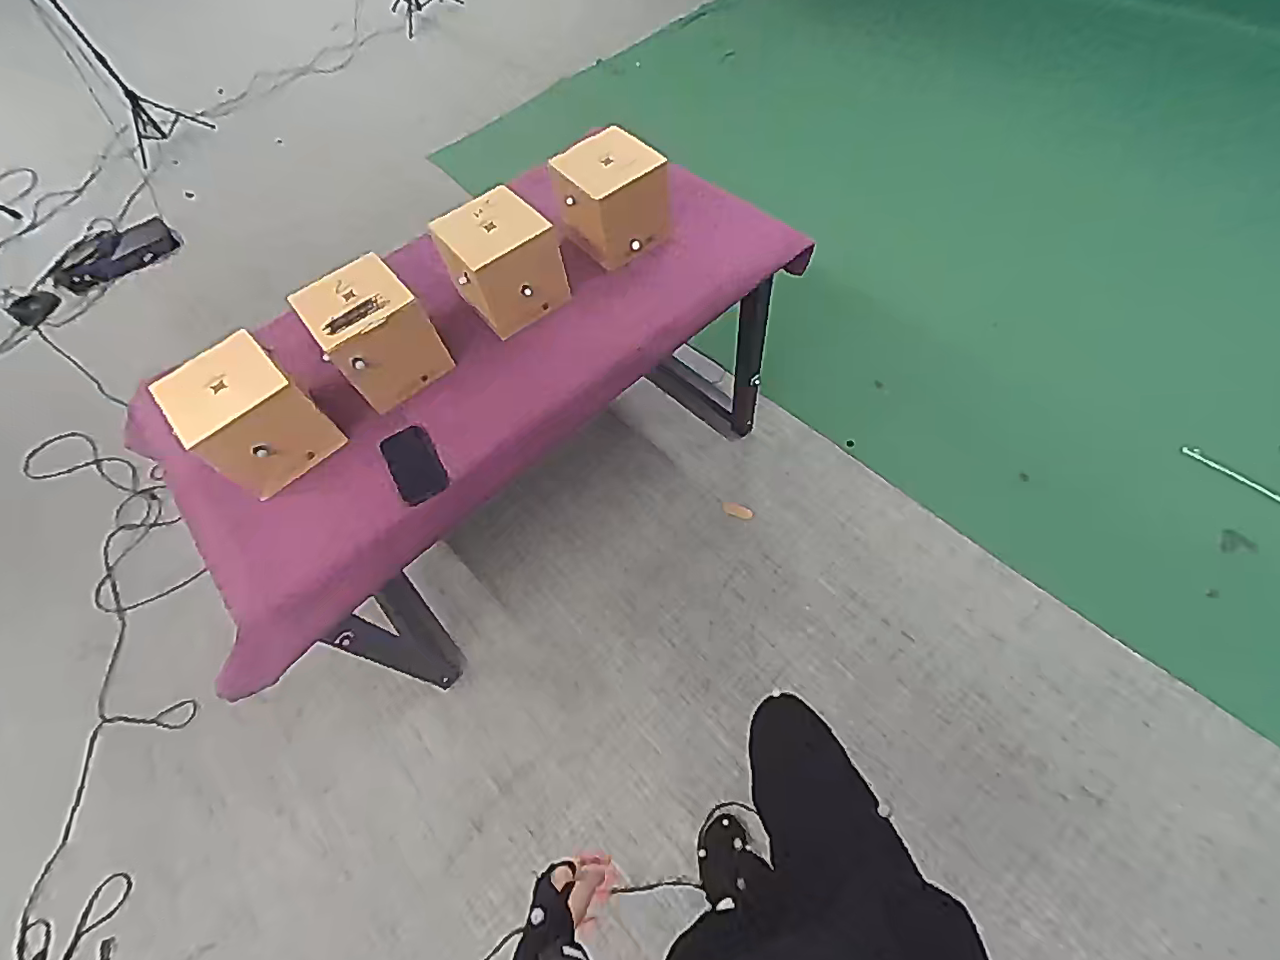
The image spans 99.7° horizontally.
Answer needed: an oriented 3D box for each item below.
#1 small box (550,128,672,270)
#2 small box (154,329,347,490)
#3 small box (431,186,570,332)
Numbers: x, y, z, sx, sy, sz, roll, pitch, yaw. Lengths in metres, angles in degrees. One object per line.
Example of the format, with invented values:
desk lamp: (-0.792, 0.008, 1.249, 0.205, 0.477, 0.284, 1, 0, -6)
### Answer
small box: (-0.053, -0.562, 1.090, 0.168, 0.176, 0.179, -35, 63, -12)
small box: (-0.632, -0.107, 0.898, 0.168, 0.176, 0.179, -42, 64, -16)
small box: (-0.255, -0.410, 1.026, 0.168, 0.176, 0.179, -36, 63, -14)
